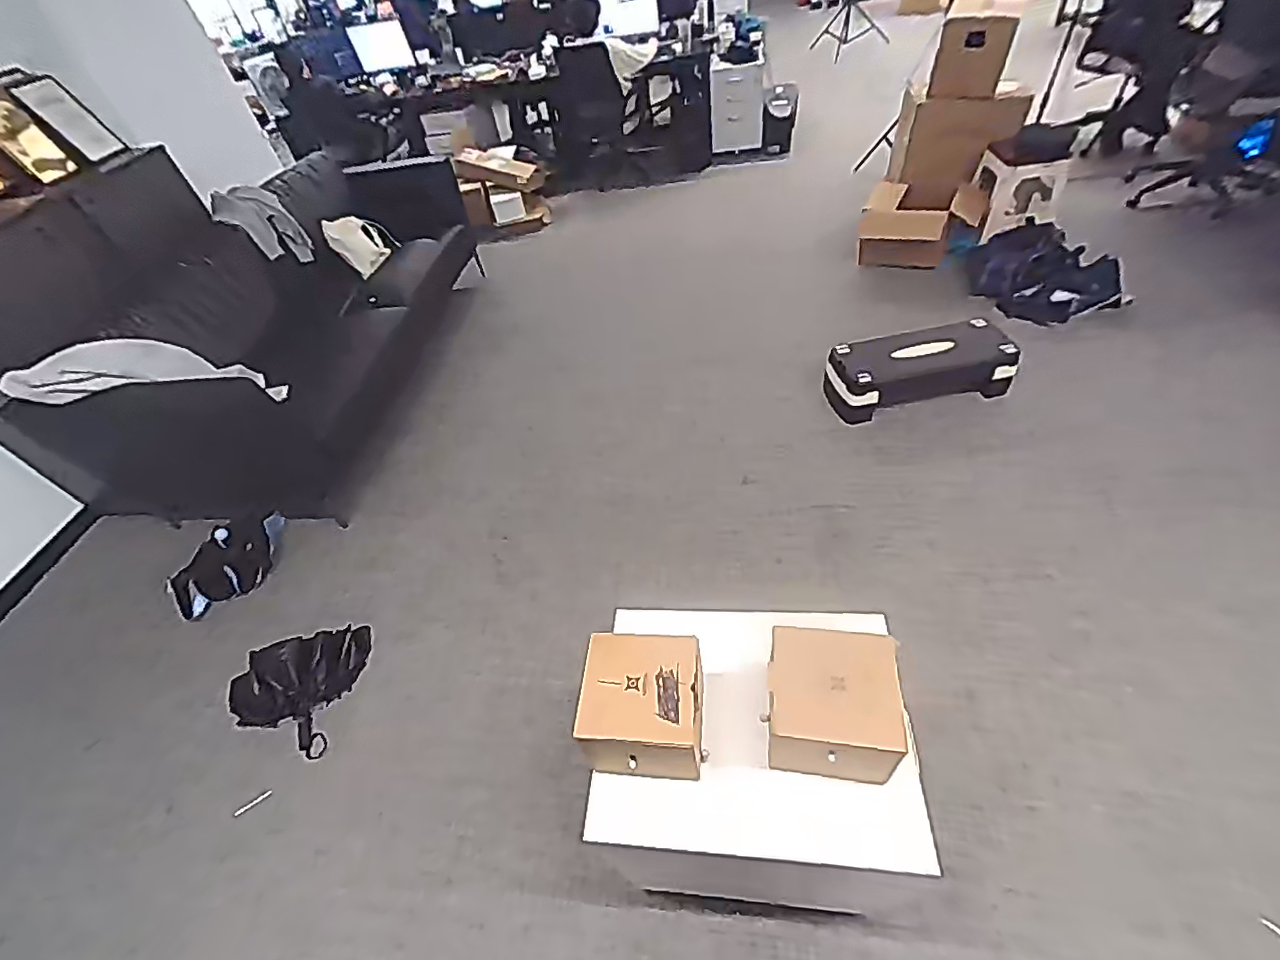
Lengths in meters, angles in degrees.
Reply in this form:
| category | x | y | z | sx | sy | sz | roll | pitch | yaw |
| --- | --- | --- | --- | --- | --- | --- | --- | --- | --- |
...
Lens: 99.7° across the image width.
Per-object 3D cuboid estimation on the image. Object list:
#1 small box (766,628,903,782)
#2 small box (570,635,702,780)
| category | x | y | z | sx | sy | sz | roll | pitch | yaw |
| --- | --- | --- | --- | --- | --- | --- | --- | --- | --- |
| small box | 0.285 | 0.347 | 0.831 | 0.179 | 0.176 | 0.168 | 2 | 49 | 12 |
| small box | 0.006 | 0.365 | 0.866 | 0.179 | 0.176 | 0.168 | -2 | 46 | 11 |
